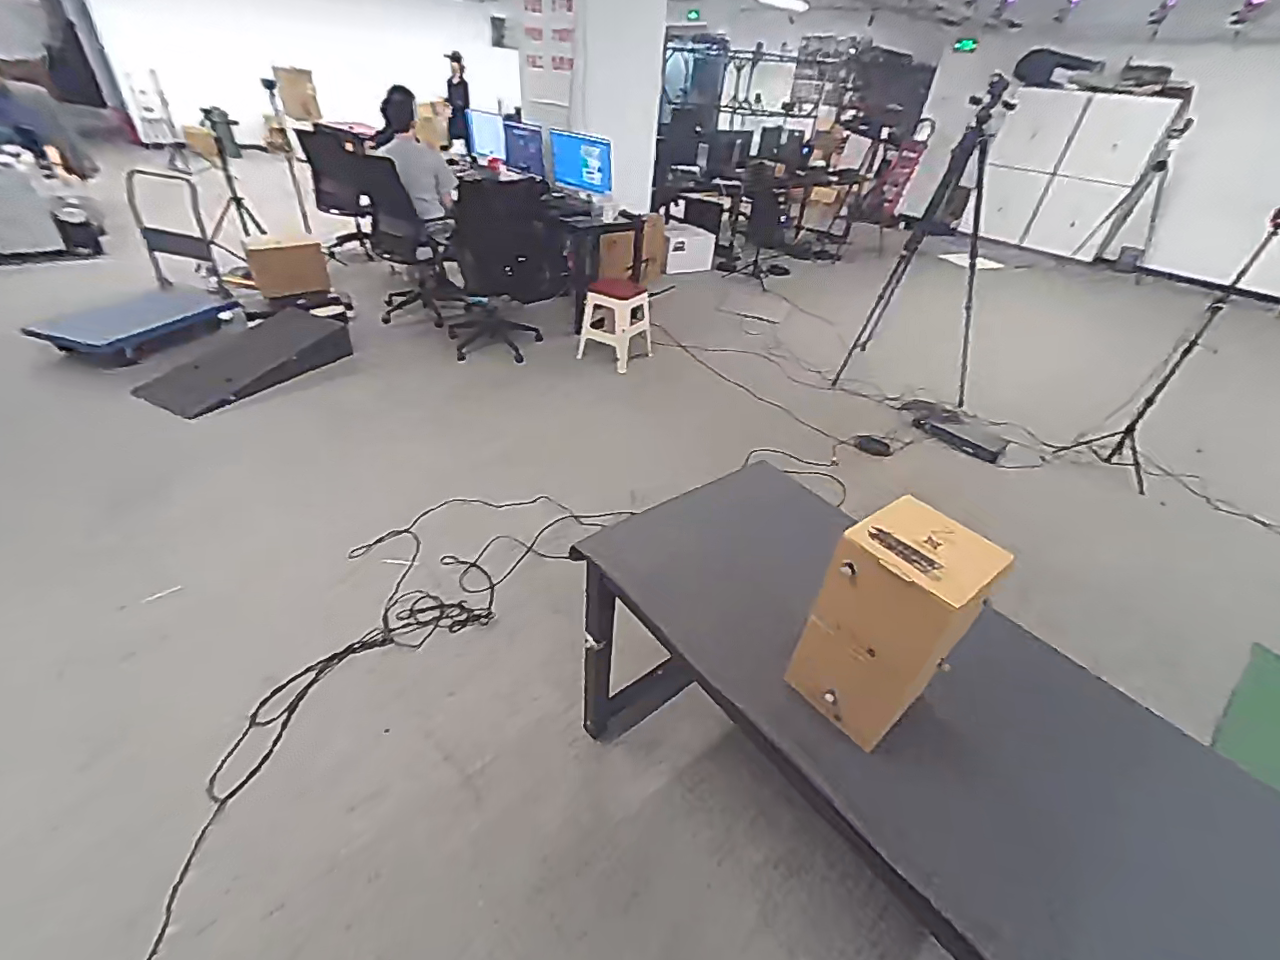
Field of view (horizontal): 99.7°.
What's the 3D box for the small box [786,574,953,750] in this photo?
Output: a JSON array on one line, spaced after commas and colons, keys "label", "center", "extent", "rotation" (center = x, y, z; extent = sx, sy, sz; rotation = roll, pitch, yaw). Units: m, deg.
[{"label": "small box", "center": [0.365, 0.294, 0.886], "extent": [0.179, 0.176, 0.168], "rotation": [-23, 45, -35]}]
